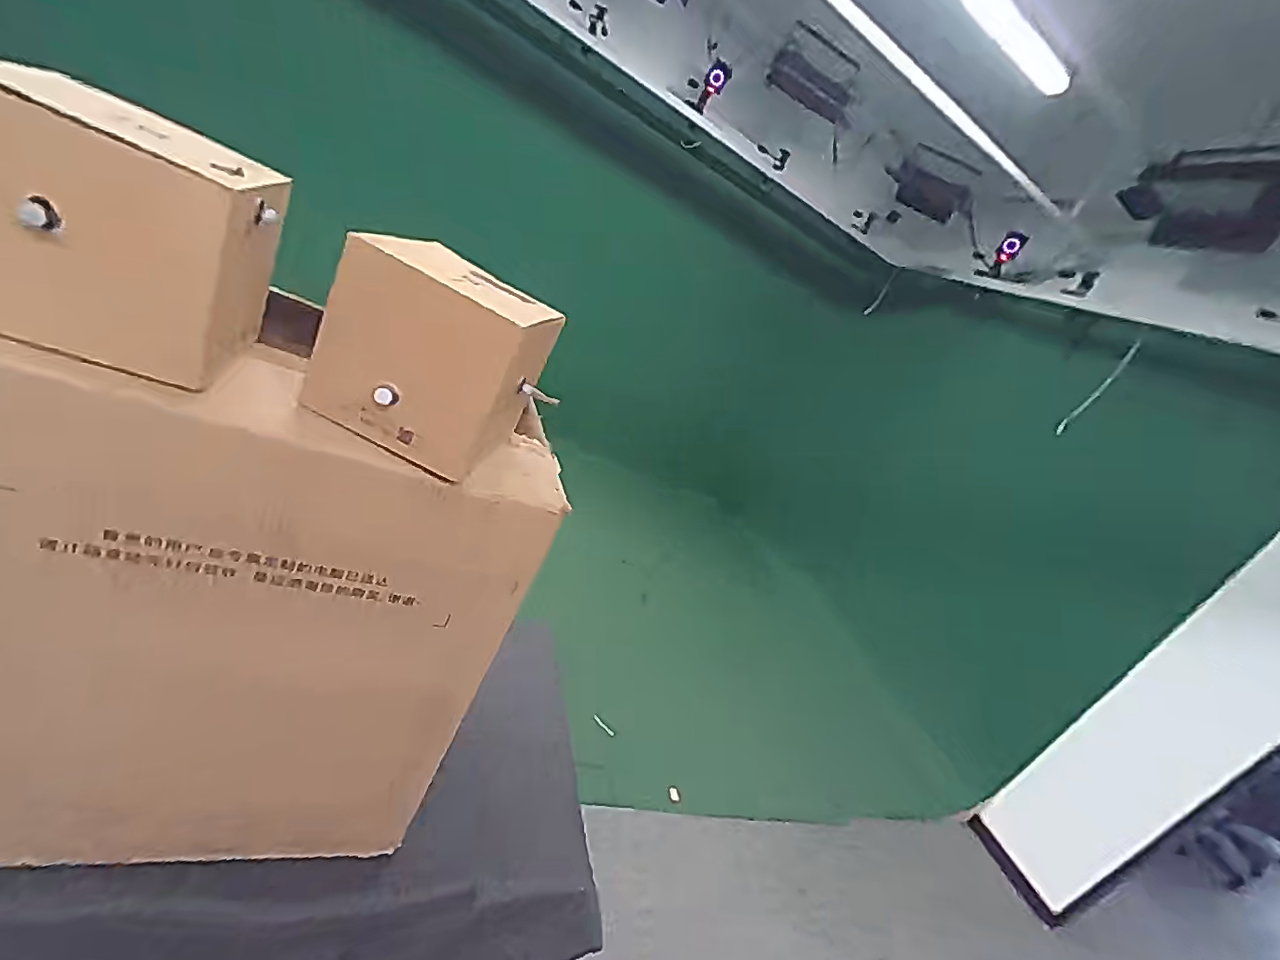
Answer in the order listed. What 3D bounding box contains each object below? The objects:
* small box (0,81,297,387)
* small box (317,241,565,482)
[{"bbox_3d":[-0.423,-0.199,0.455,0.179,0.176,0.168,17,24,-26],"label":"small box"},{"bbox_3d":[-0.203,-0.125,0.571,0.168,0.176,0.179,28,20,-5],"label":"small box"}]
